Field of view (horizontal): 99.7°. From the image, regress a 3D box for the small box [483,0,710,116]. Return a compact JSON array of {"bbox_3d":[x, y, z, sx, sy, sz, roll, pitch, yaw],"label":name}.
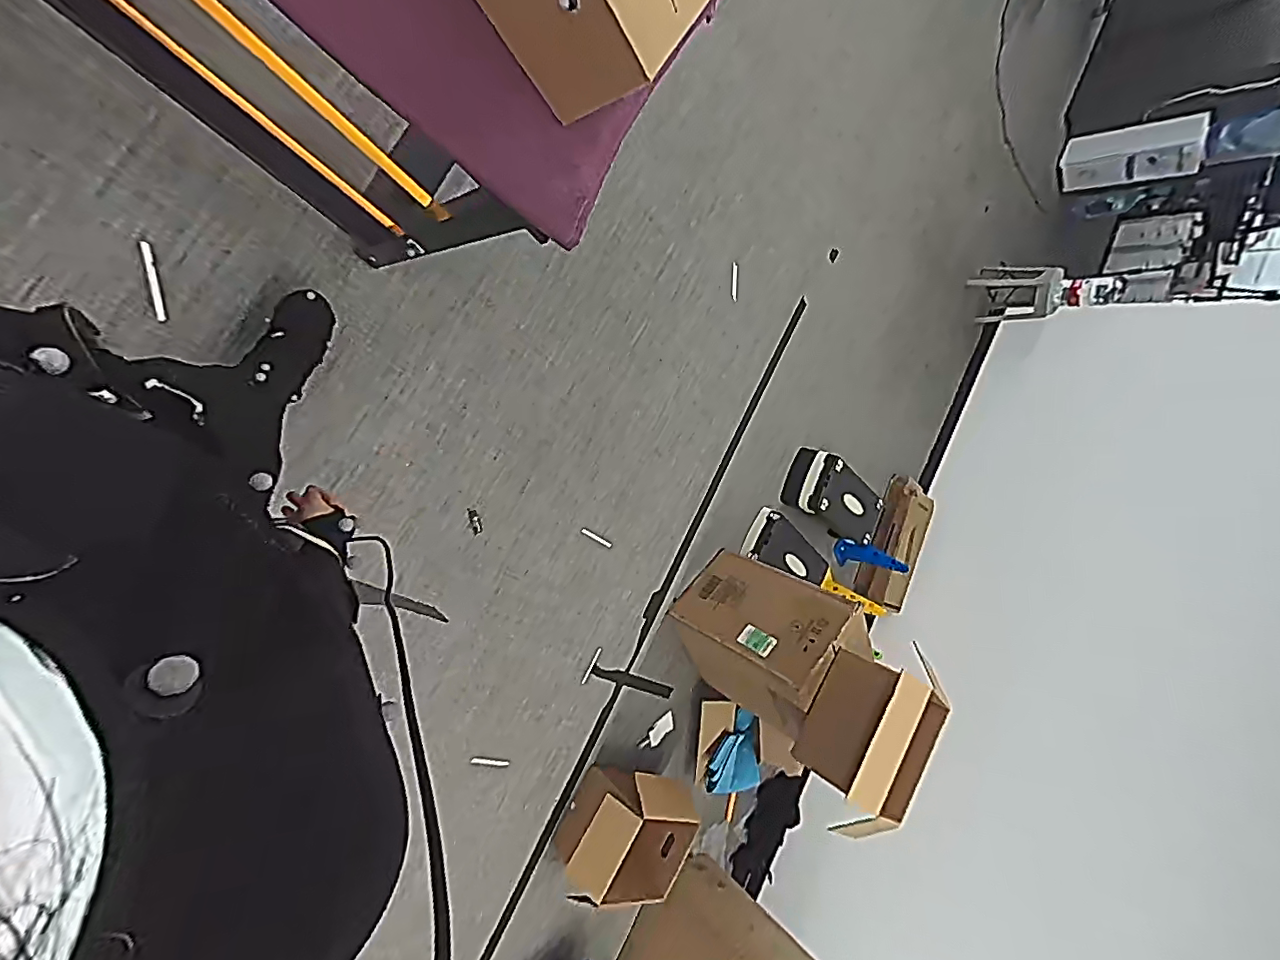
[{"bbox_3d":[-0.051,-0.545,0.586,0.179,0.176,0.168,43,72,-42],"label":"small box"}]
